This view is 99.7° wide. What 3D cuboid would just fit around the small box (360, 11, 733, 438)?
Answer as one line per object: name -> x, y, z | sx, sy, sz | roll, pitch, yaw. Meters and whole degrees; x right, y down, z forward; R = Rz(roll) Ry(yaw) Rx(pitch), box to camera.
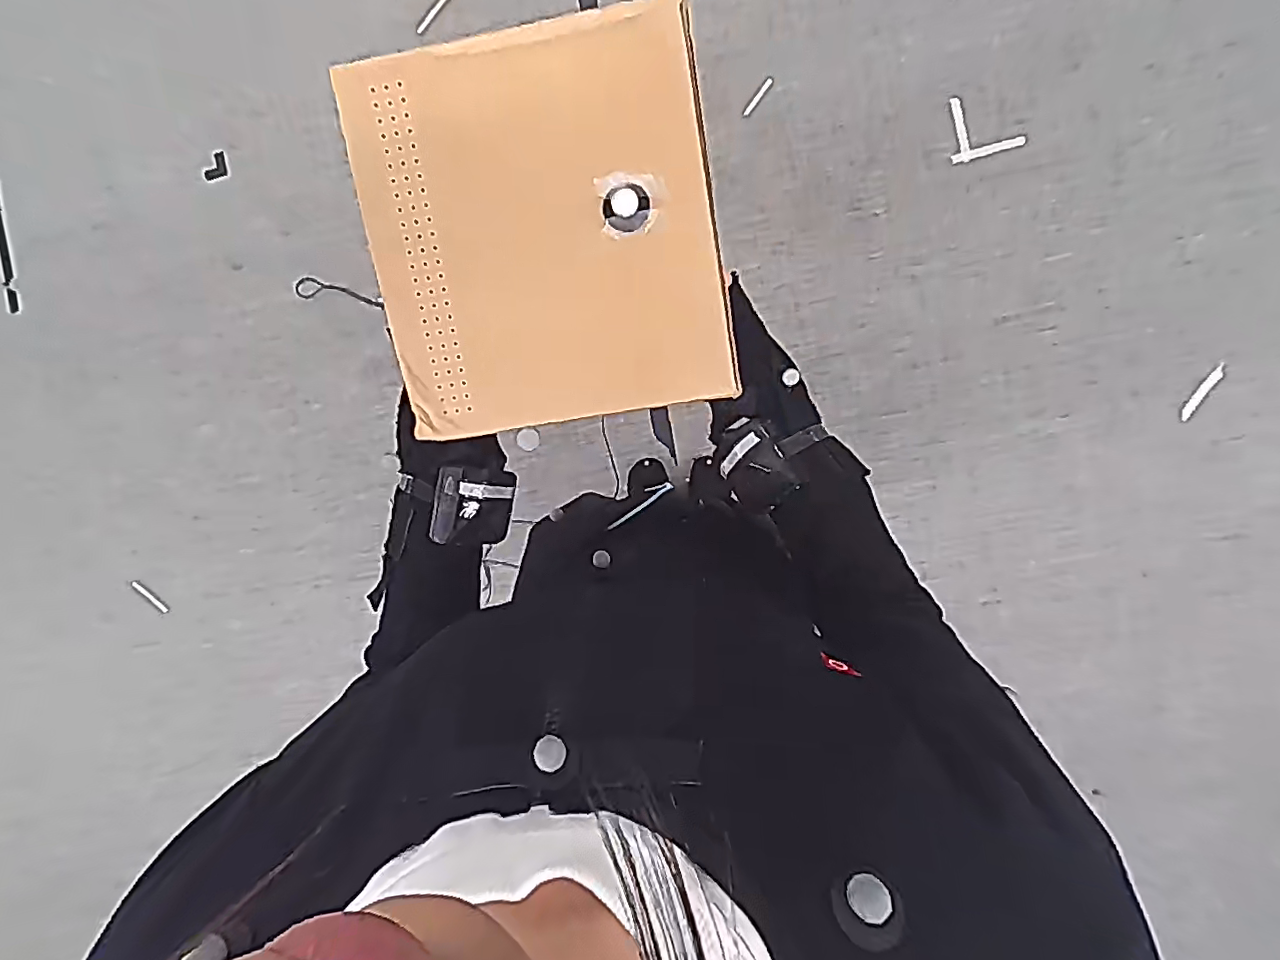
small box -> -0.045, -0.132, 0.343 | 0.176, 0.168, 0.179 | -9, 100, 6
